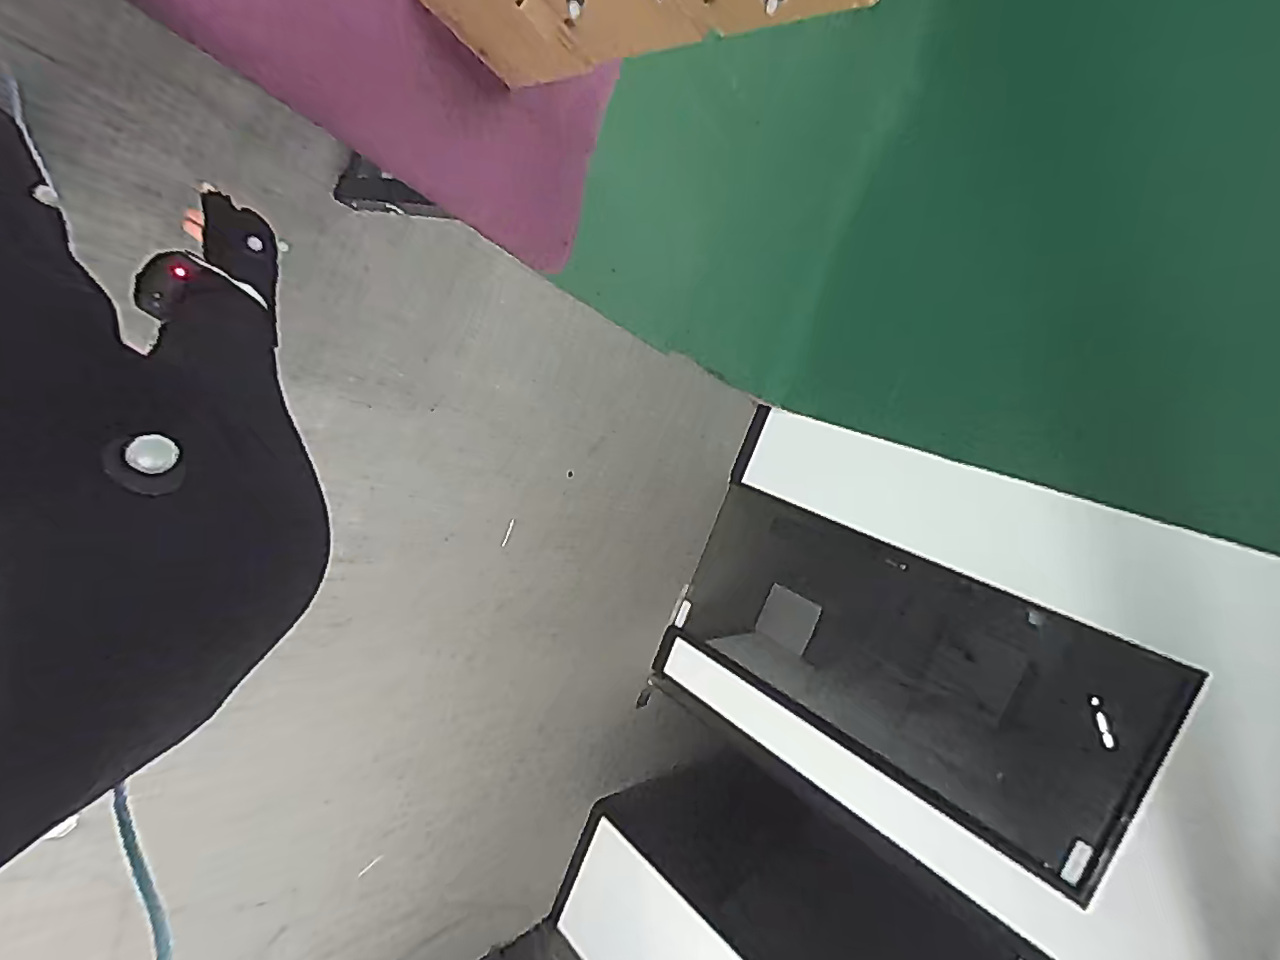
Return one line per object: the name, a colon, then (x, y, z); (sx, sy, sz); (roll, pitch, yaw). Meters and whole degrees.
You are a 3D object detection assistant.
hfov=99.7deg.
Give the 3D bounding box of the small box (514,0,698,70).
small box: (-0.027, -0.552, 0.529); (0.168, 0.176, 0.179); (11, 100, -52)
